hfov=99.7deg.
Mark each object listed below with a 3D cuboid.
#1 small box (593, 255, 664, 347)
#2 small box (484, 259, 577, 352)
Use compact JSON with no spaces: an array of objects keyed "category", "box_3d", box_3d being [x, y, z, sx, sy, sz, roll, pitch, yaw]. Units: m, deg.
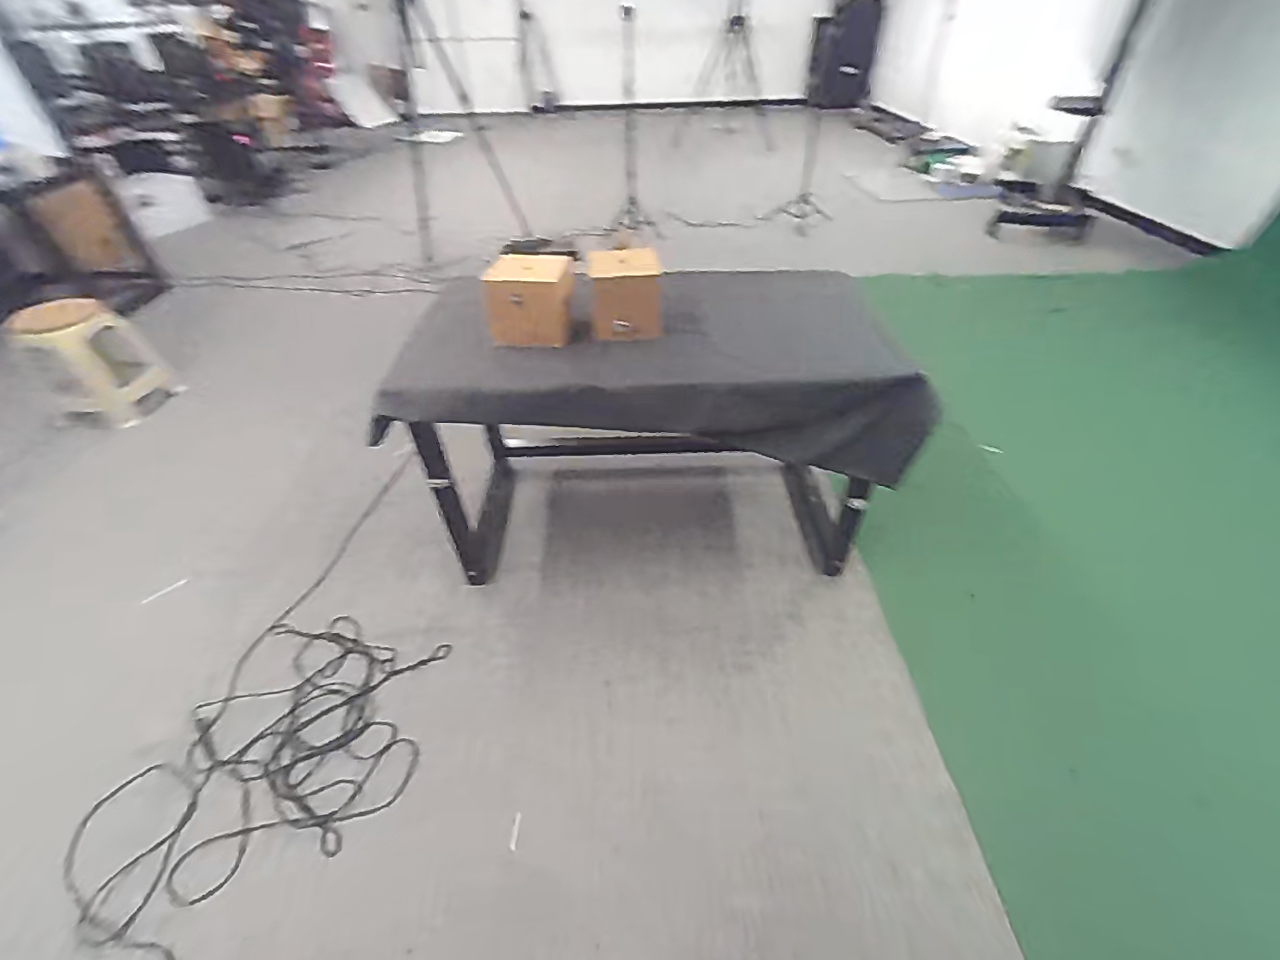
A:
[{"category":"small box","box_3d":[-0.030,-0.449,1.354,0.168,0.176,0.179,-4,42,-2]},{"category":"small box","box_3d":[-0.259,-0.430,1.334,0.179,0.176,0.168,4,41,6]}]
